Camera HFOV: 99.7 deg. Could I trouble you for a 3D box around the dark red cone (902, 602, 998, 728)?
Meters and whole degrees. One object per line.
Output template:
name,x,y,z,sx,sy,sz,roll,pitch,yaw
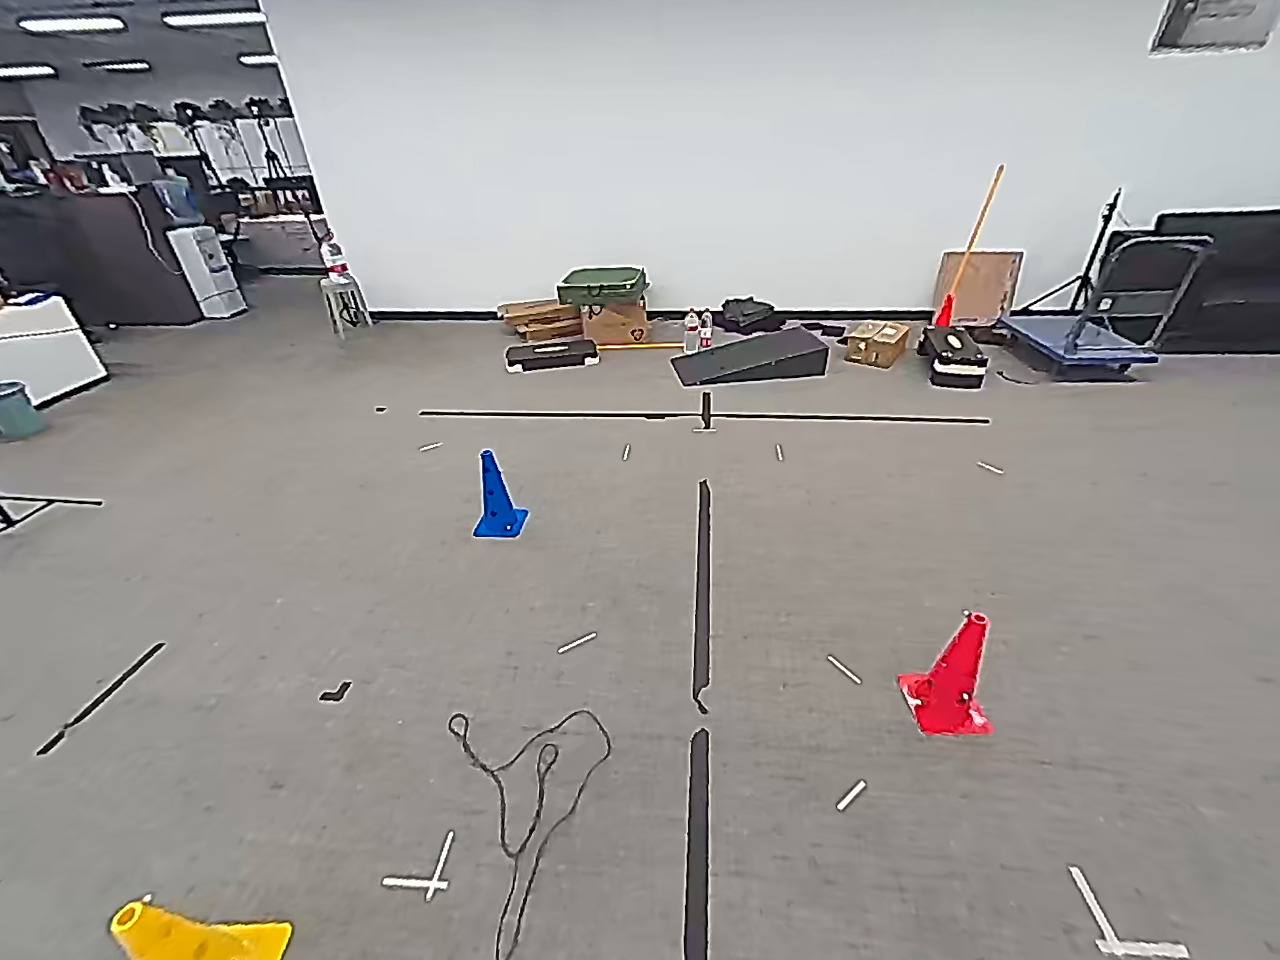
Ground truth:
dark red cone,0.877,0.482,1.470,0.201,0.394,0.202,-3,32,0

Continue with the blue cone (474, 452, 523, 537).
blue cone,-0.624,0.052,2.281,0.192,0.380,0.193,1,32,7
